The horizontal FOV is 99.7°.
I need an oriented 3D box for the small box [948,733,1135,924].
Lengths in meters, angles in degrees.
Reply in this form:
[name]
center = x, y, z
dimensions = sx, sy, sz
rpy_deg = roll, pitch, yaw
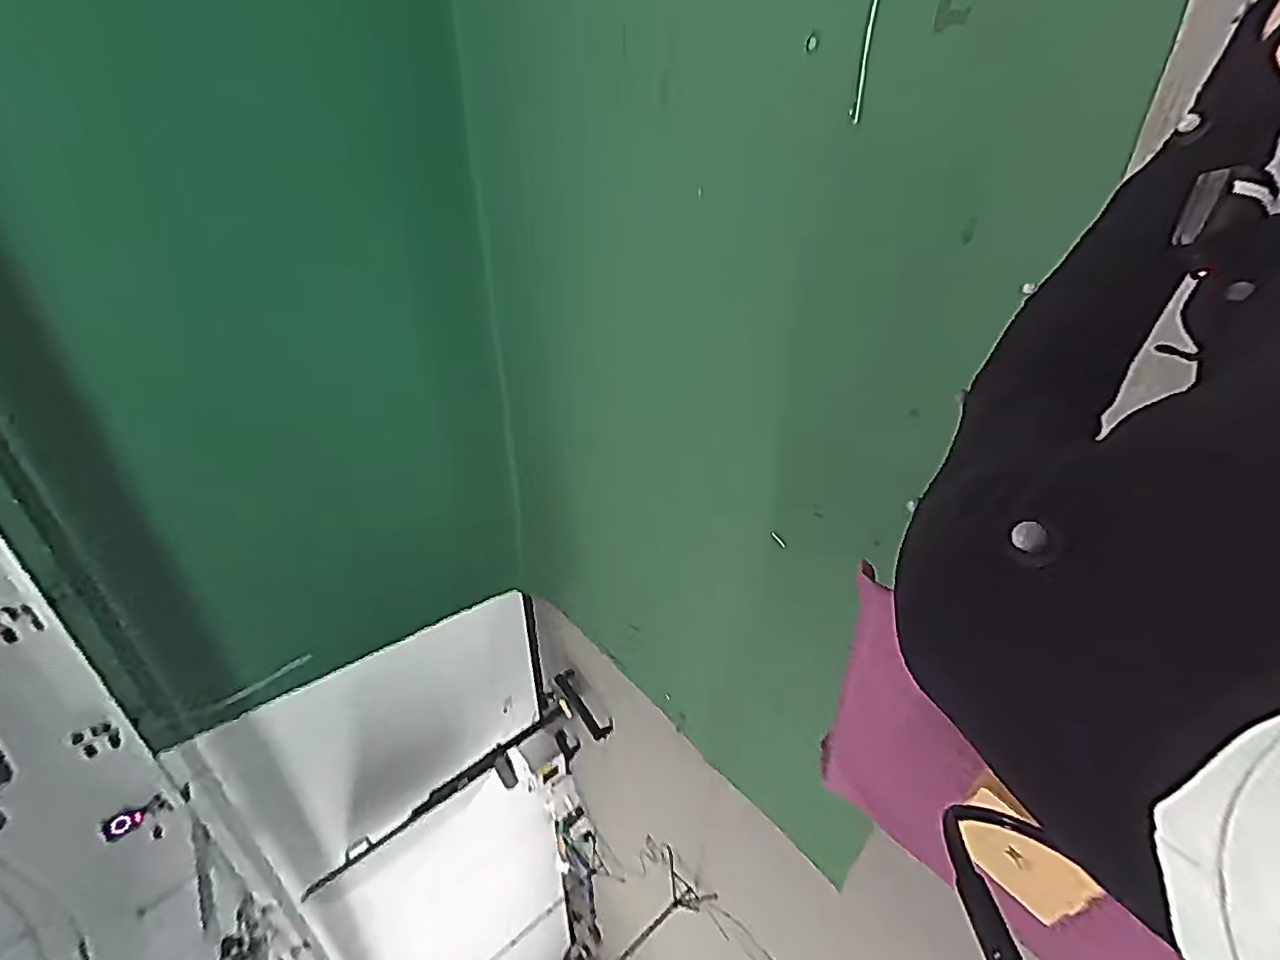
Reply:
[small box]
center = 0.663, 0.567, 0.897
dimensions = 0.179, 0.176, 0.168
rpy_deg = 38, 136, 35
